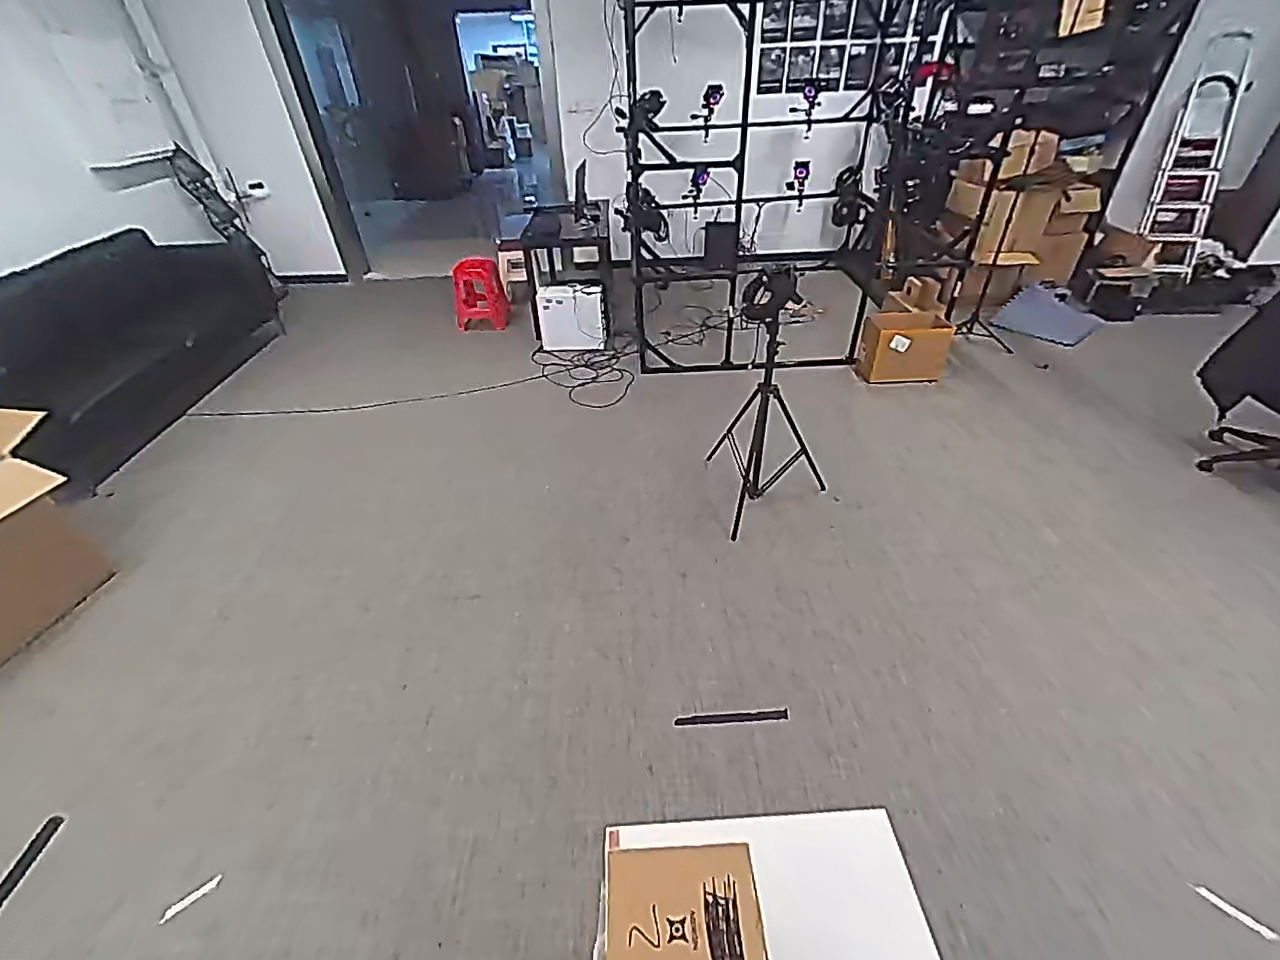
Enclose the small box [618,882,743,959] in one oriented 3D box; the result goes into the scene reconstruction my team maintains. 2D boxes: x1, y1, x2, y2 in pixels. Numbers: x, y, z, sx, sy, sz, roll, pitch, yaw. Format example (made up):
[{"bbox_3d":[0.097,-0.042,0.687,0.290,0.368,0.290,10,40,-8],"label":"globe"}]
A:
[{"bbox_3d":[0.056,0.690,0.748,0.168,0.176,0.179,-2,37,0],"label":"small box"}]
